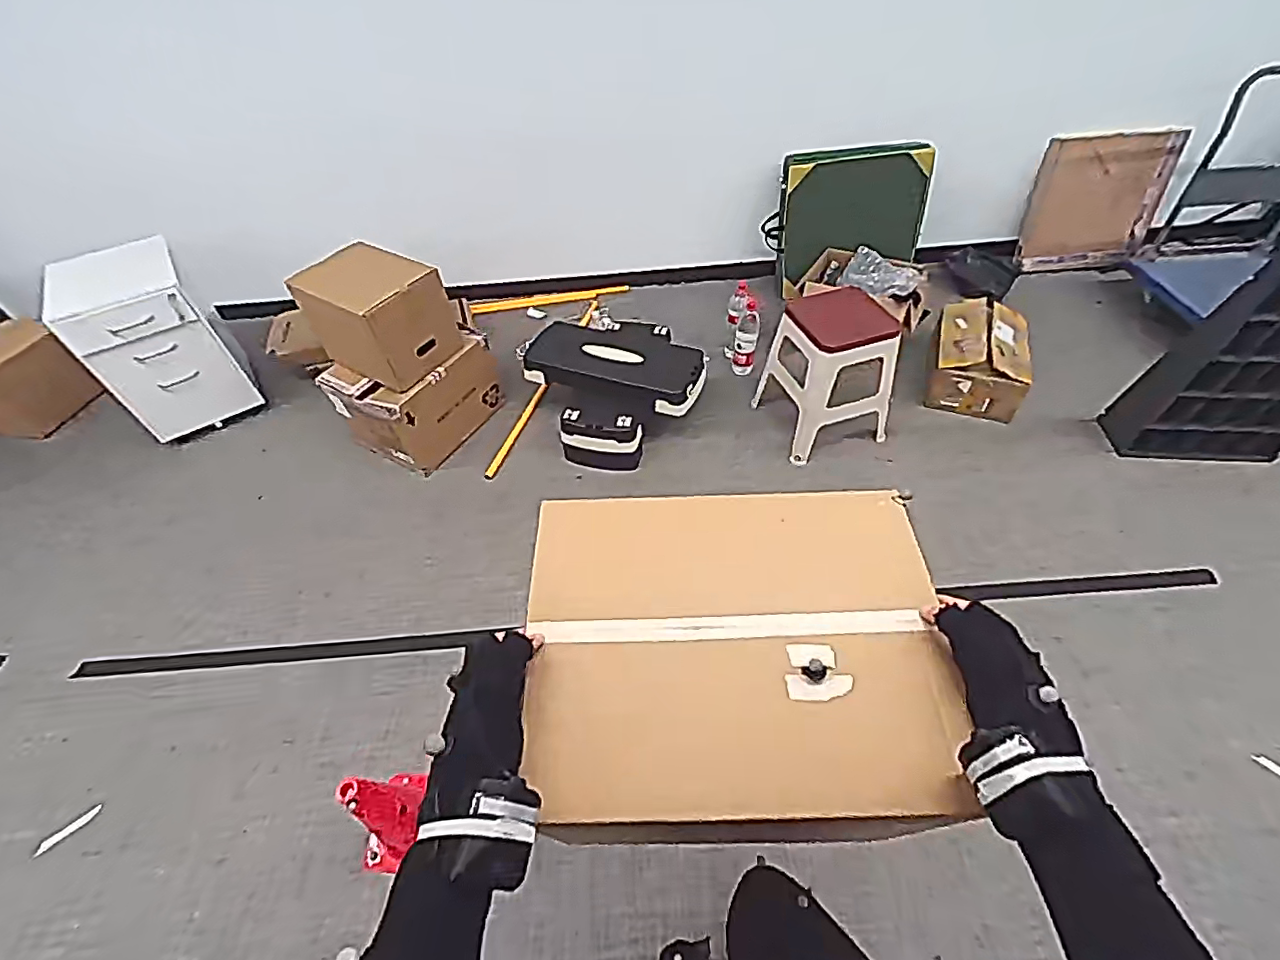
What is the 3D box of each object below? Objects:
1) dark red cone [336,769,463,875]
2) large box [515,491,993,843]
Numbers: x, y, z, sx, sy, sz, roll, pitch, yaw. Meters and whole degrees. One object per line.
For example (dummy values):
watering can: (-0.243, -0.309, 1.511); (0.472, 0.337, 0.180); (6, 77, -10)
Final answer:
dark red cone: (-0.533, 0.684, 1.135); (0.201, 0.394, 0.202); (1, 49, 4)
large box: (0.092, 0.233, 0.650); (0.408, 0.320, 0.320); (-2, 53, 1)
